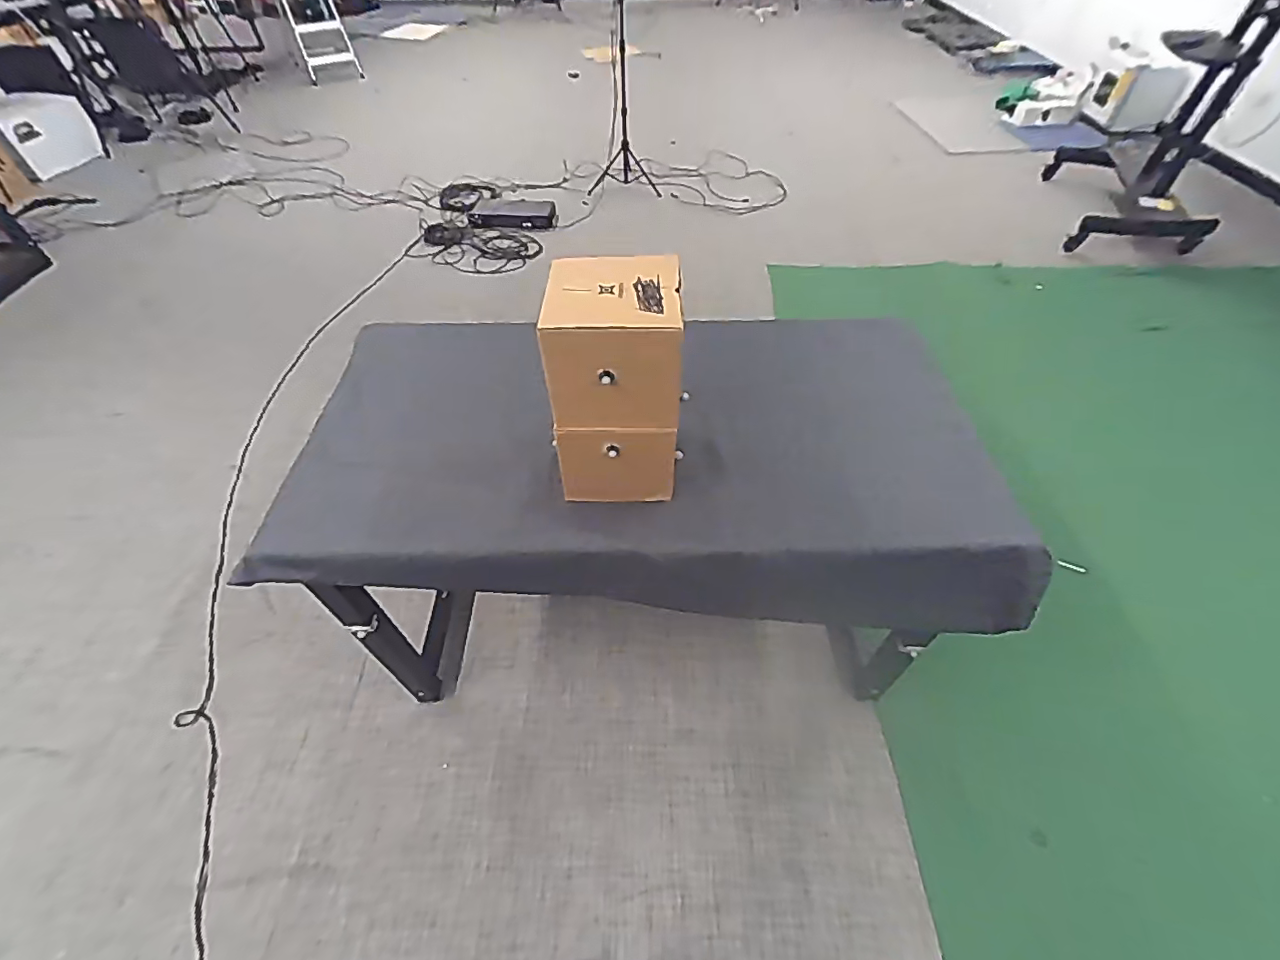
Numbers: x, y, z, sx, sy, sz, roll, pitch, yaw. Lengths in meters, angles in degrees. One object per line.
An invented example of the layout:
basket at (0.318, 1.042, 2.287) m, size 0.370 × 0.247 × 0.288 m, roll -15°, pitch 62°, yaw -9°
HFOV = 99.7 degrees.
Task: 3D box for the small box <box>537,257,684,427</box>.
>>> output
small box at (-0.032, -0.186, 0.749) m, size 0.179 × 0.176 × 0.168 m, roll 0°, pitch 51°, yaw 2°

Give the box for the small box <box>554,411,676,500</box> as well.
small box at (-0.034, -0.080, 0.874) m, size 0.179 × 0.176 × 0.168 m, roll 1°, pitch 51°, yaw 0°
